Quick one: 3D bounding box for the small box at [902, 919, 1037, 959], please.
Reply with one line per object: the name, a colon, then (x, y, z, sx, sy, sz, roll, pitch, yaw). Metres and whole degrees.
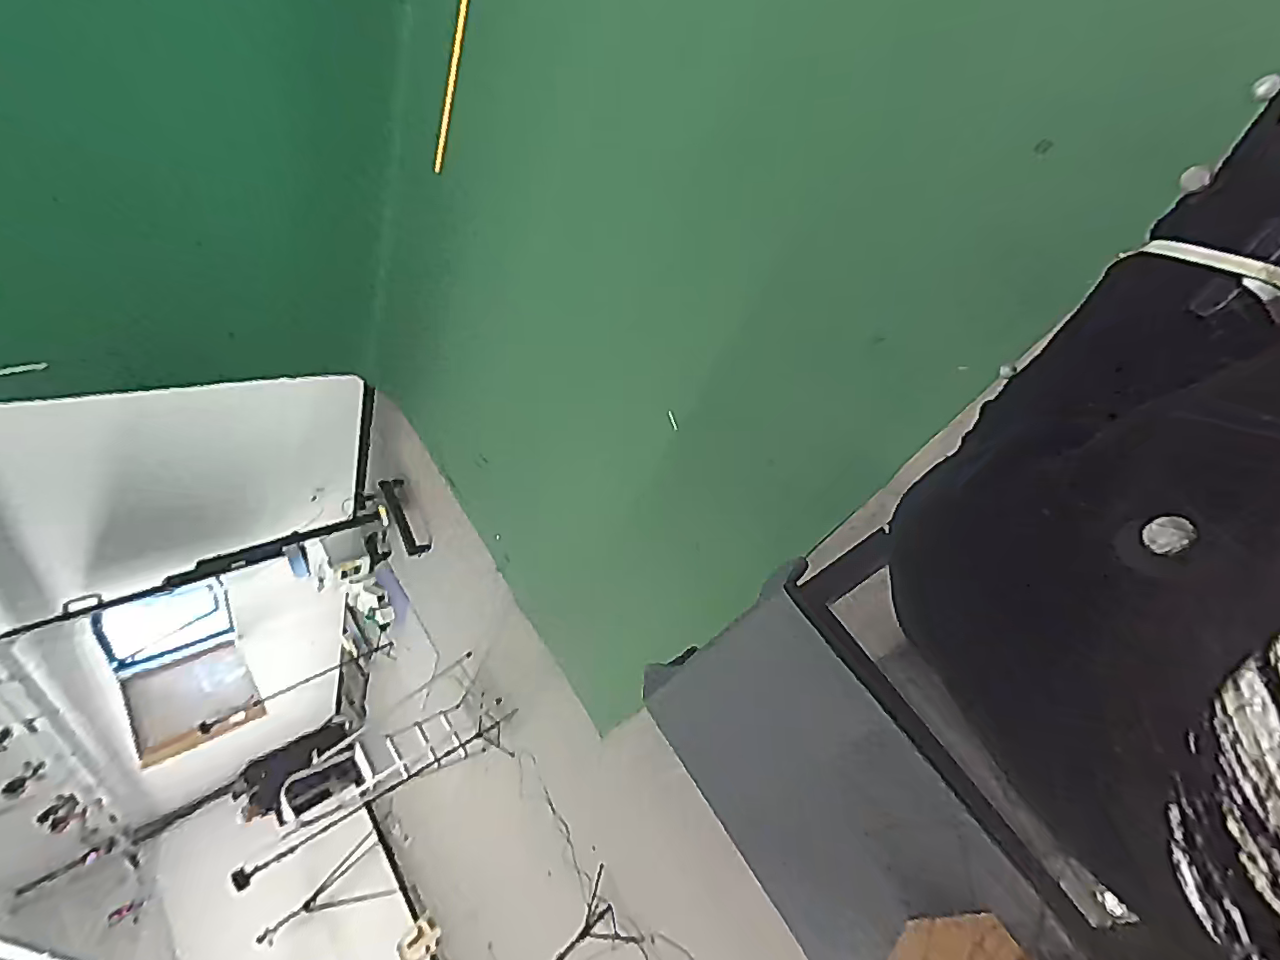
small box: (0.495, 0.784, 0.784, 0.168, 0.176, 0.179, 53, 136, 20)
